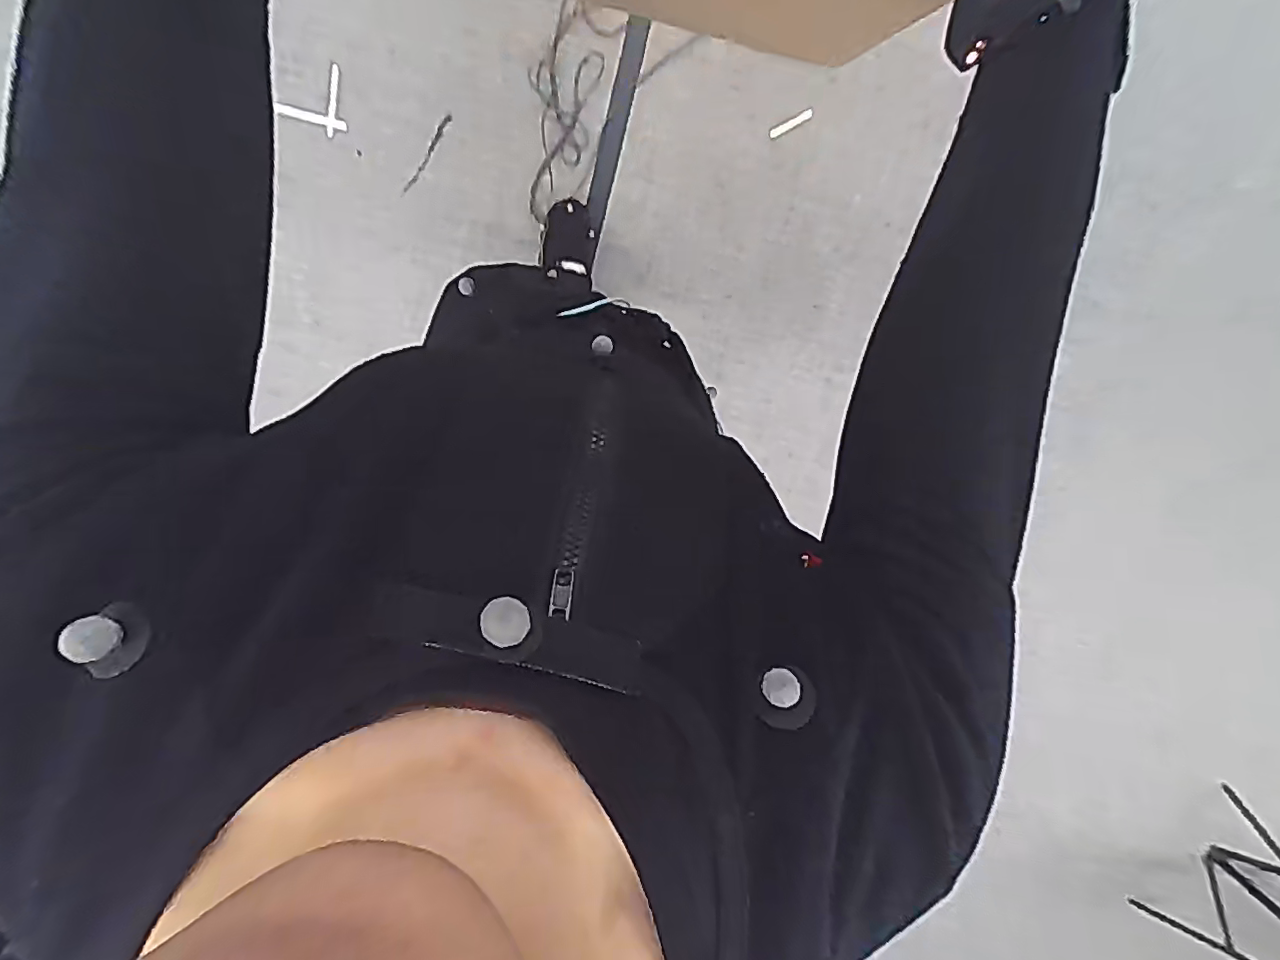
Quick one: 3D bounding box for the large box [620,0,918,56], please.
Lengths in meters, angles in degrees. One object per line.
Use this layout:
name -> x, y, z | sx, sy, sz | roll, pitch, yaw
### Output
large box -> 0.054, -0.558, 0.376 | 0.408, 0.320, 0.320 | 11, 119, -6
